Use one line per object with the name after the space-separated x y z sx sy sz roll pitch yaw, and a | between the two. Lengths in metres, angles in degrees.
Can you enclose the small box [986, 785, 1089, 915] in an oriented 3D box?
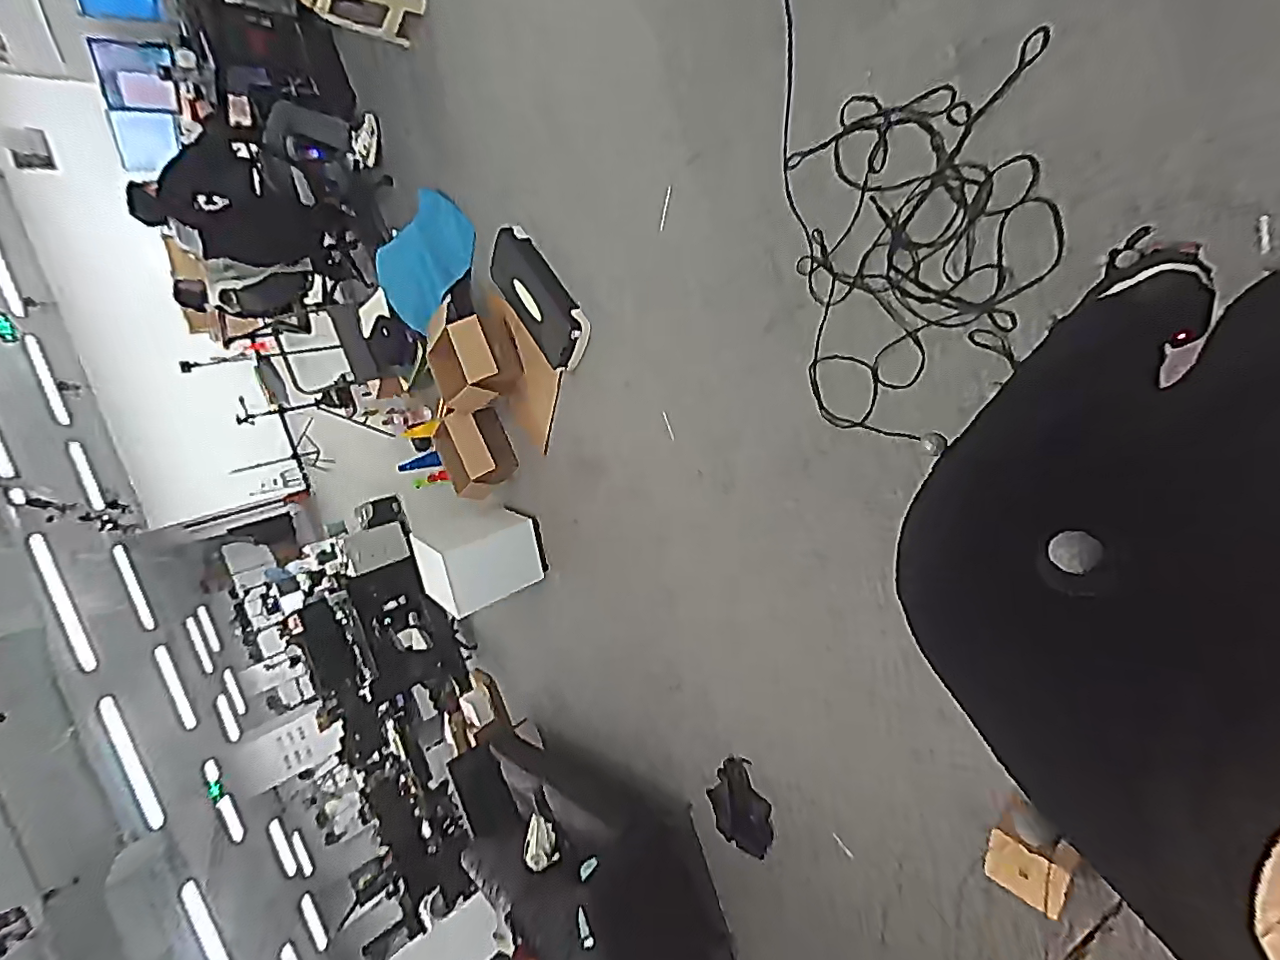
1.023 0.943 1.392 0.168 0.176 0.179 18 121 47 | small box
